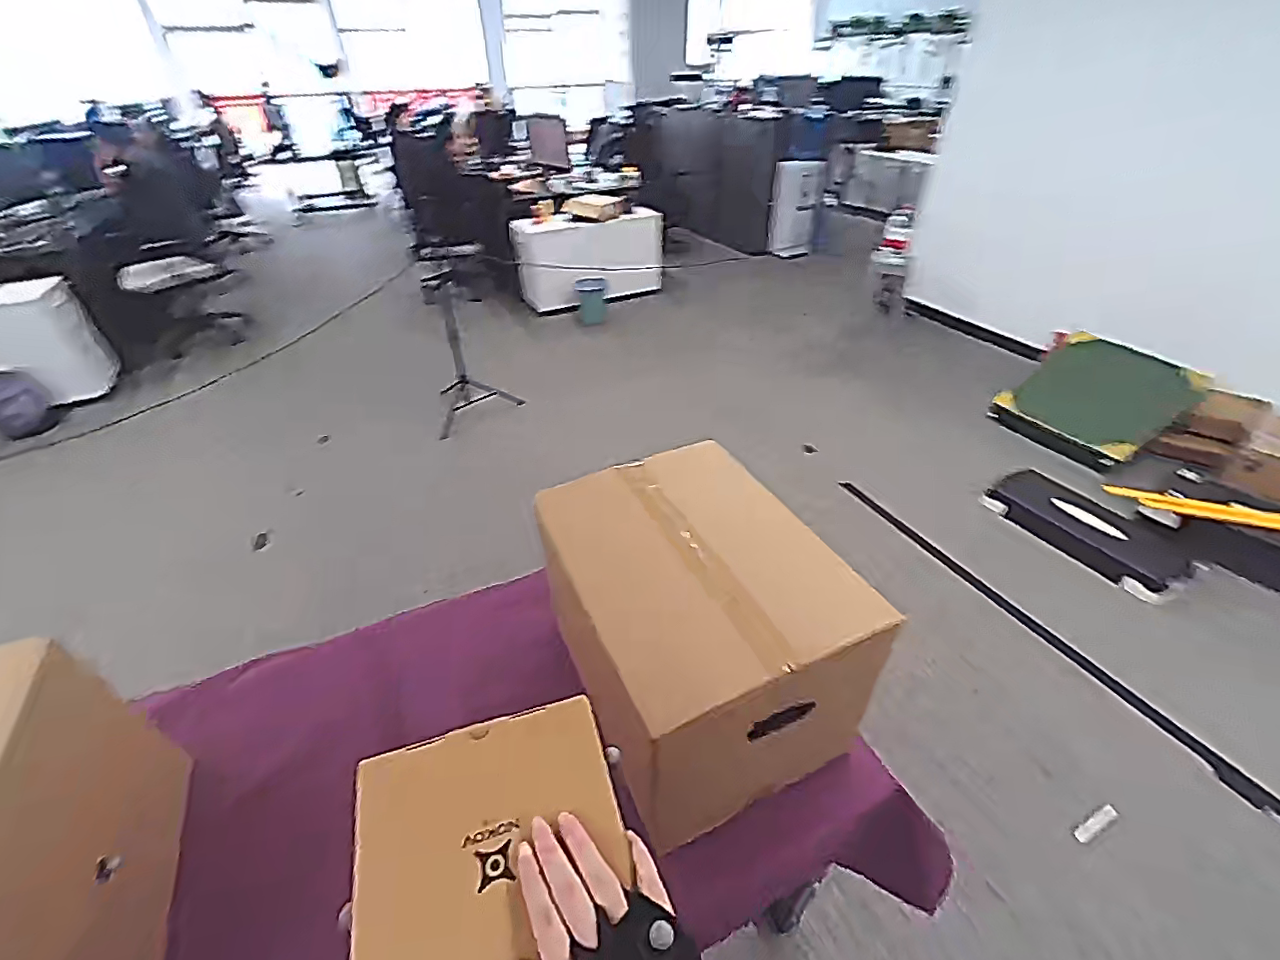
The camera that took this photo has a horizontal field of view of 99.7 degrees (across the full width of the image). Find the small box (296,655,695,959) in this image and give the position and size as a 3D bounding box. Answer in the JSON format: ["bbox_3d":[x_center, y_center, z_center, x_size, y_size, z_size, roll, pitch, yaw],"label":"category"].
[{"bbox_3d":[-0.093,0.254,0.376,0.179,0.176,0.168,-28,27,-7],"label":"small box"}]
